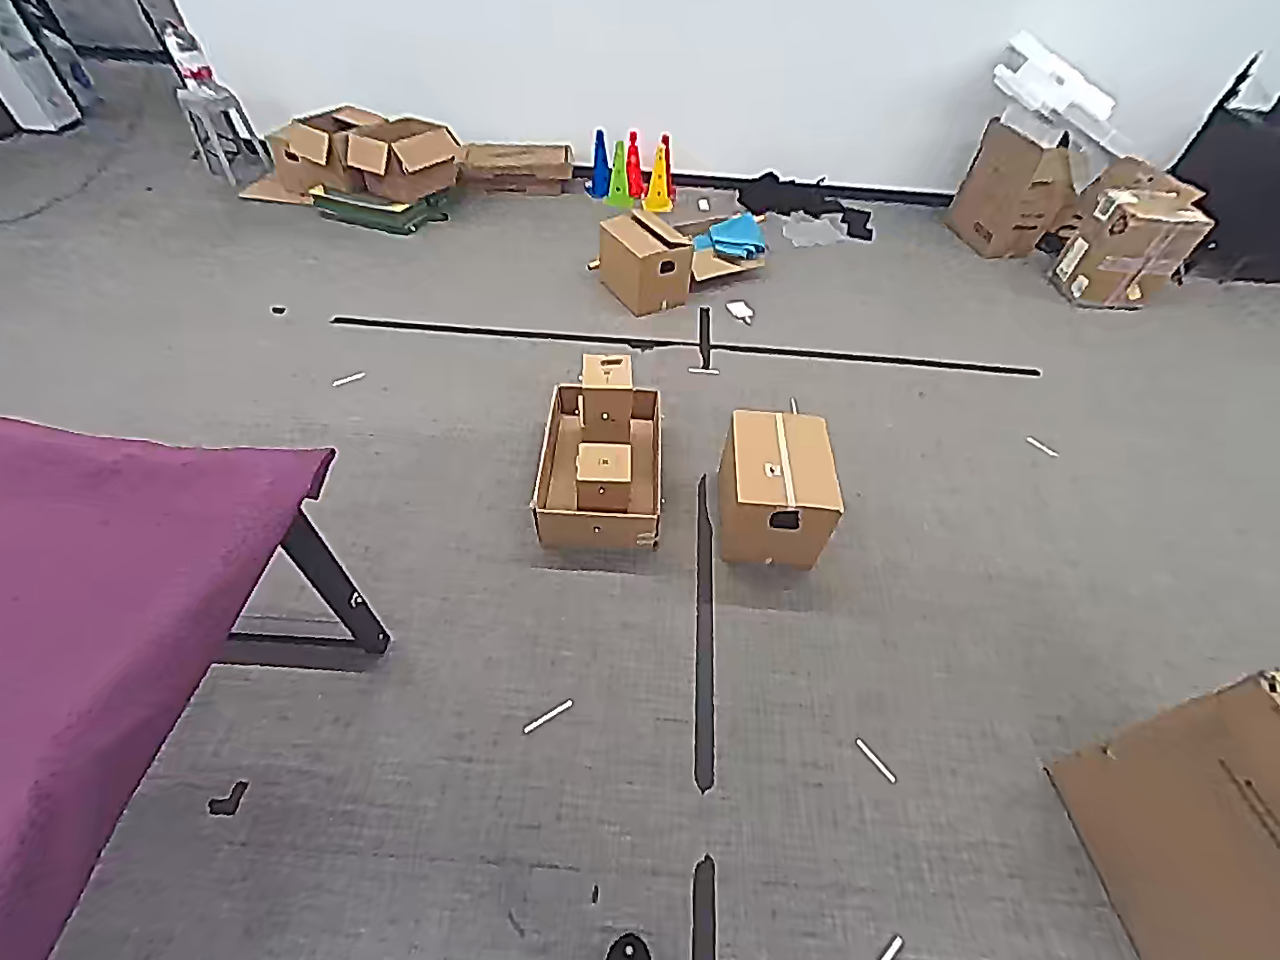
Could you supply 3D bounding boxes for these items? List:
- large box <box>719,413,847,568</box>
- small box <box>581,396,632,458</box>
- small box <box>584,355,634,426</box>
[{"bbox_3d":[0.447,0.033,1.791,0.320,0.320,0.408,4,50,1],"label":"large box"},{"bbox_3d":[-0.127,-0.193,1.973,0.179,0.176,0.168,-3,50,-7],"label":"small box"},{"bbox_3d":[-0.109,-0.308,1.855,0.168,0.176,0.179,0,51,-4],"label":"small box"}]
